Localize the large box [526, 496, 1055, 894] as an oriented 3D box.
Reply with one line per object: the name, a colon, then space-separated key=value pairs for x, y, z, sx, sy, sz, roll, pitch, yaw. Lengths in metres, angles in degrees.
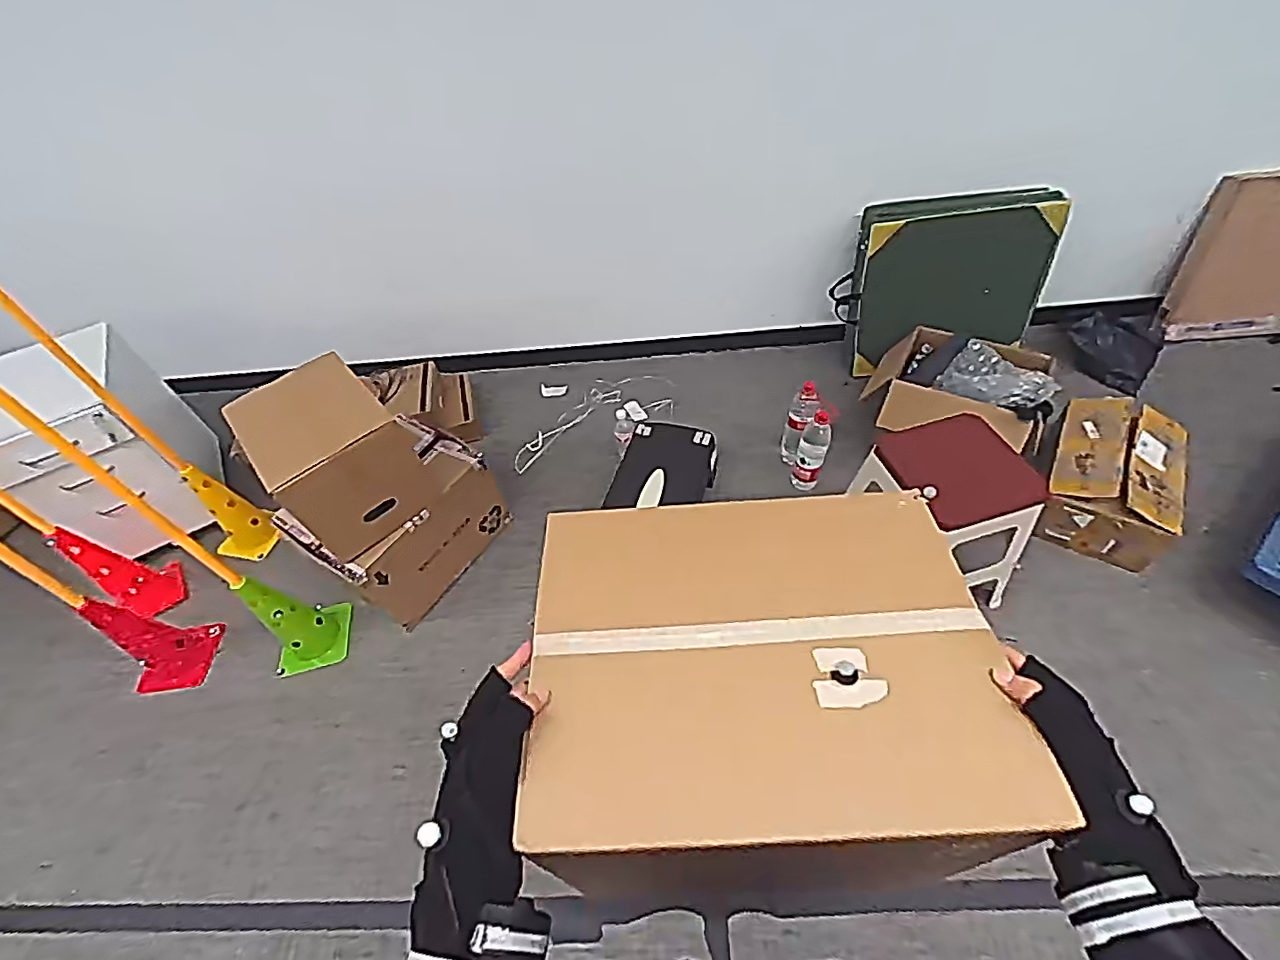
large box: x=0.113 y=0.244 z=0.609 sx=0.408 sy=0.320 sz=0.320 roll=-4 pitch=47 yaw=2
